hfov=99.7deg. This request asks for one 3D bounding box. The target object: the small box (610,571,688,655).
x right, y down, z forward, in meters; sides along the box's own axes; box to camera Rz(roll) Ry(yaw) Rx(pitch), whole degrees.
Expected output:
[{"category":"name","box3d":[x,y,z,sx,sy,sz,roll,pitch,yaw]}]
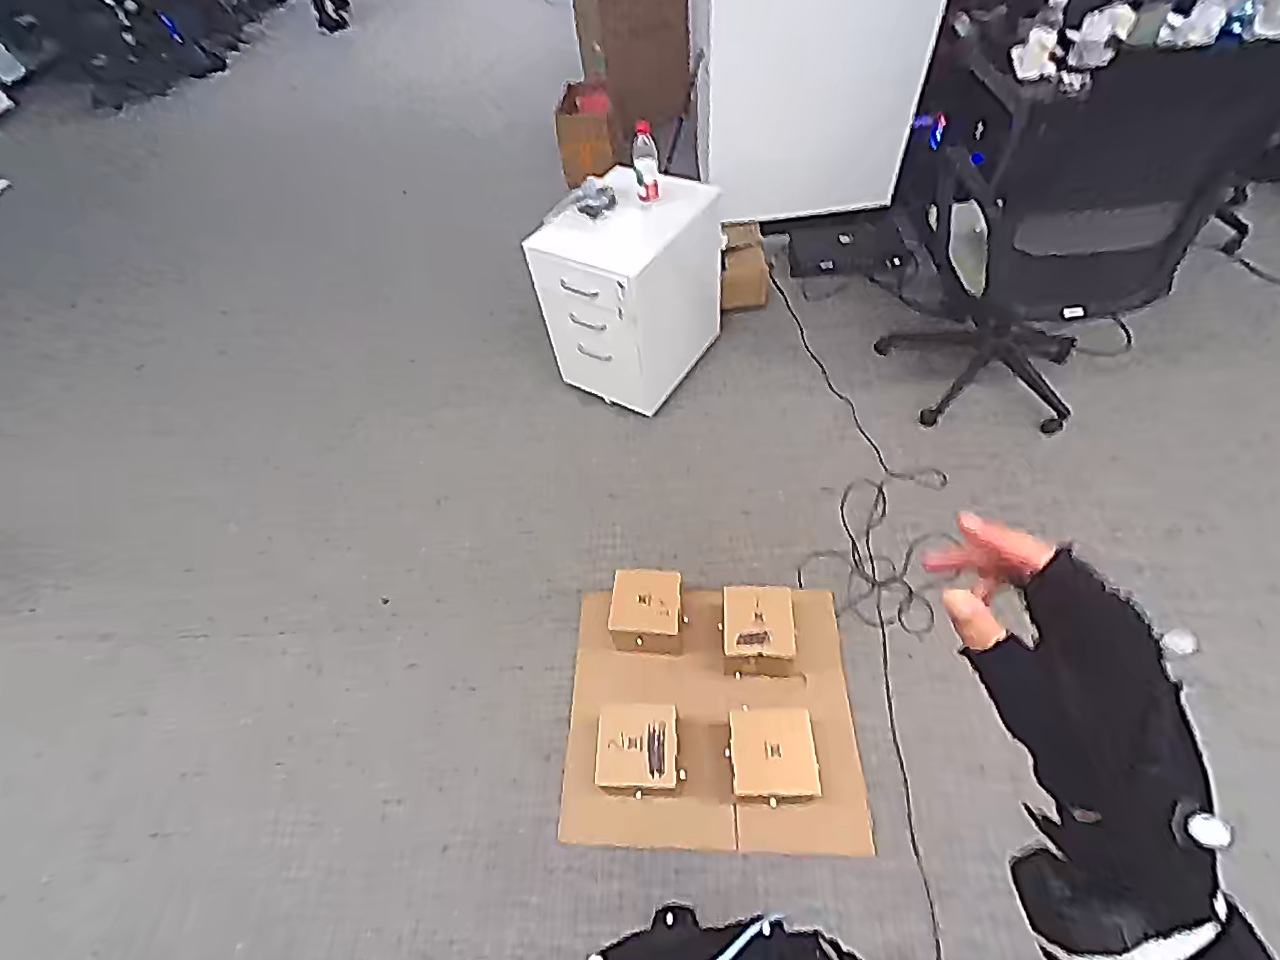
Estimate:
[{"category":"small box","box3d":[0.030,0.354,1.431,0.179,0.176,0.168,2,55,9]}]

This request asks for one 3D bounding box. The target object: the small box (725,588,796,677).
[{"category":"small box","box3d":[0.301,0.390,1.370,0.168,0.176,0.179,-1,54,10]}]
